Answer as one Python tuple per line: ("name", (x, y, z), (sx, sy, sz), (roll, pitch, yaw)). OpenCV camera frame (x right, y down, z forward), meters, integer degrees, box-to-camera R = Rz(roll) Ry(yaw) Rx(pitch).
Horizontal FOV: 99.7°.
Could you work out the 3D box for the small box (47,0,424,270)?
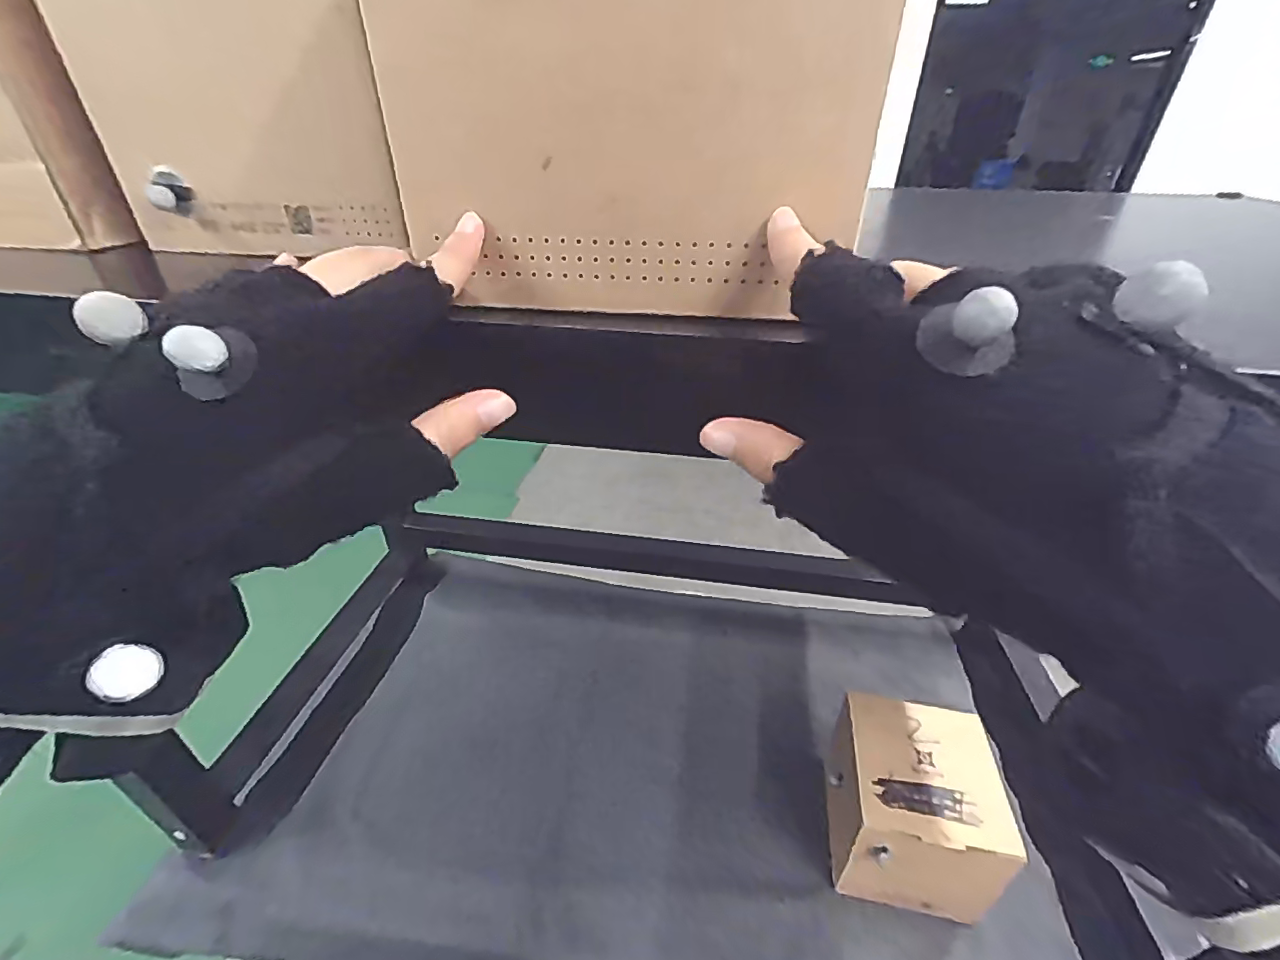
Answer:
("small box", (-0.197, -0.237, 0.343), (0.168, 0.176, 0.179), (5, 33, 6))
